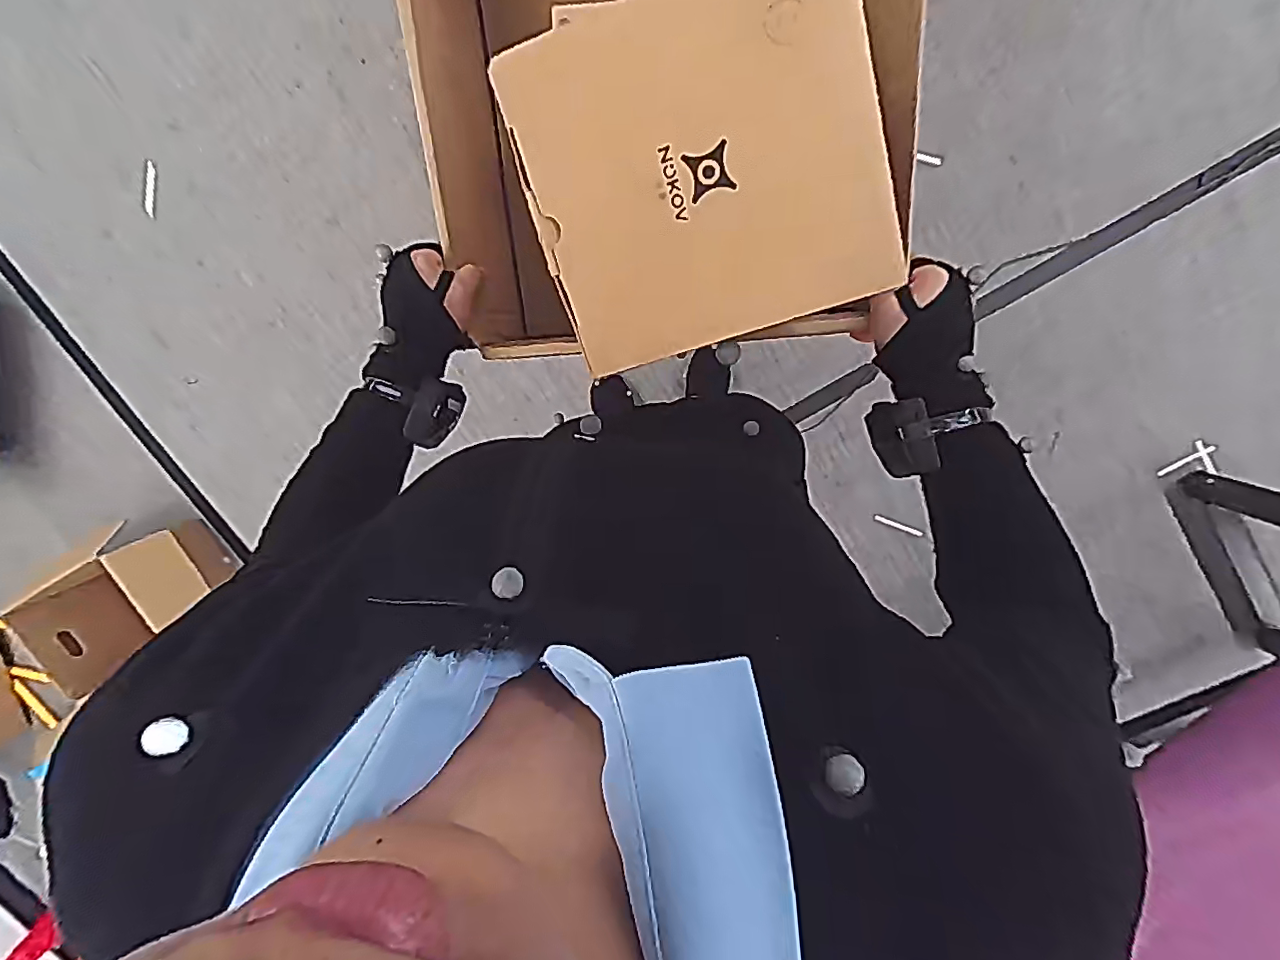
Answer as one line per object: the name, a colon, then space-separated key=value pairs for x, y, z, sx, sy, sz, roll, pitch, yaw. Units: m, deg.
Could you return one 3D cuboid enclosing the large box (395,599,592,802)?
large box: x=-0.399 y=0.613 z=1.554 sx=0.408 sy=0.320 sz=0.320 roll=30 pitch=107 yaw=-4
